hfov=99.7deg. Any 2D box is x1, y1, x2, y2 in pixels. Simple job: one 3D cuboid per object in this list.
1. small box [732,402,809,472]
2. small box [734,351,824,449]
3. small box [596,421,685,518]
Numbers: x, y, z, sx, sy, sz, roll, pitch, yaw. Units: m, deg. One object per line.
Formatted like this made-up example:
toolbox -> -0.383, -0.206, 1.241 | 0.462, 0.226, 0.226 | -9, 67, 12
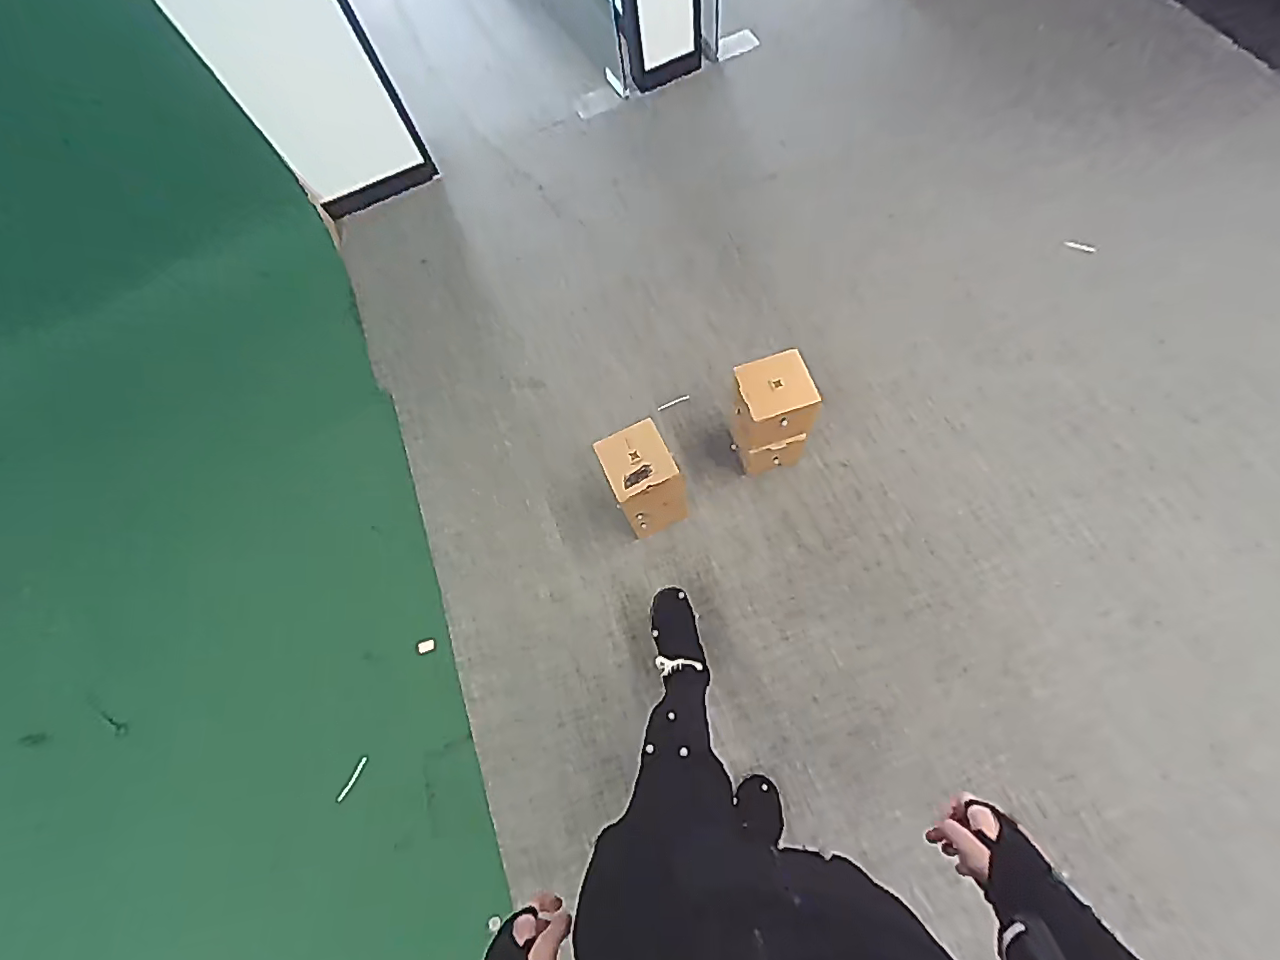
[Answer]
small box -> 0.372, -0.136, 1.569 | 0.168, 0.176, 0.179 | -16, 68, 1
small box -> 0.356, -0.206, 1.422 | 0.179, 0.176, 0.168 | -18, 67, 2
small box -> 0.008, -0.017, 1.399 | 0.168, 0.176, 0.179 | -25, 66, -2
